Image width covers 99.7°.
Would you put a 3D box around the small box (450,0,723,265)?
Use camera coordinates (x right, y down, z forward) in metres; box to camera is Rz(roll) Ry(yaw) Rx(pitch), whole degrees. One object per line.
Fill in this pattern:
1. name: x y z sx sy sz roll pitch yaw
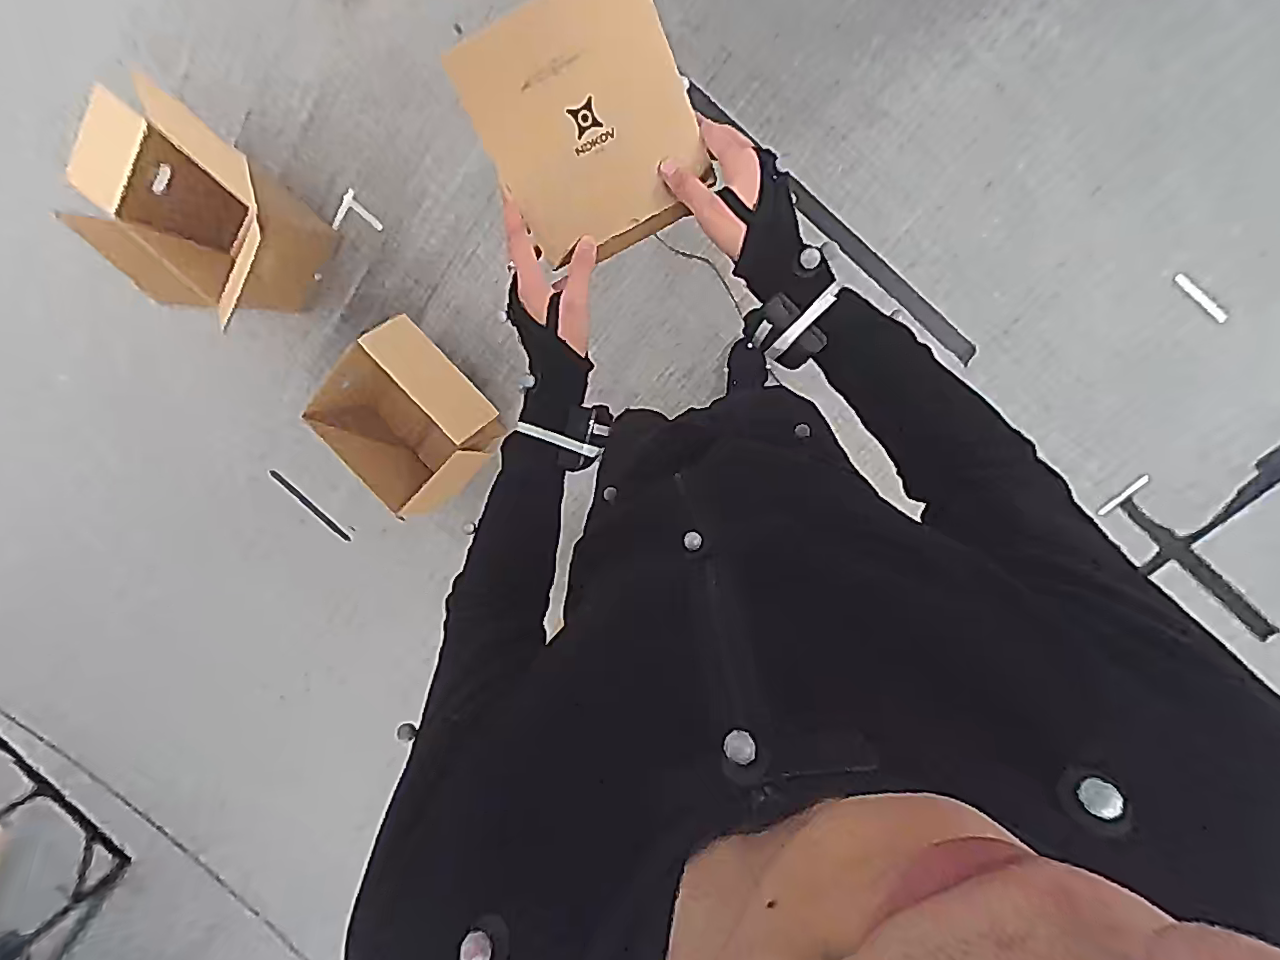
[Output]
1. small box: -0.041 -0.326 0.503 0.168 0.176 0.179 -25 115 7
